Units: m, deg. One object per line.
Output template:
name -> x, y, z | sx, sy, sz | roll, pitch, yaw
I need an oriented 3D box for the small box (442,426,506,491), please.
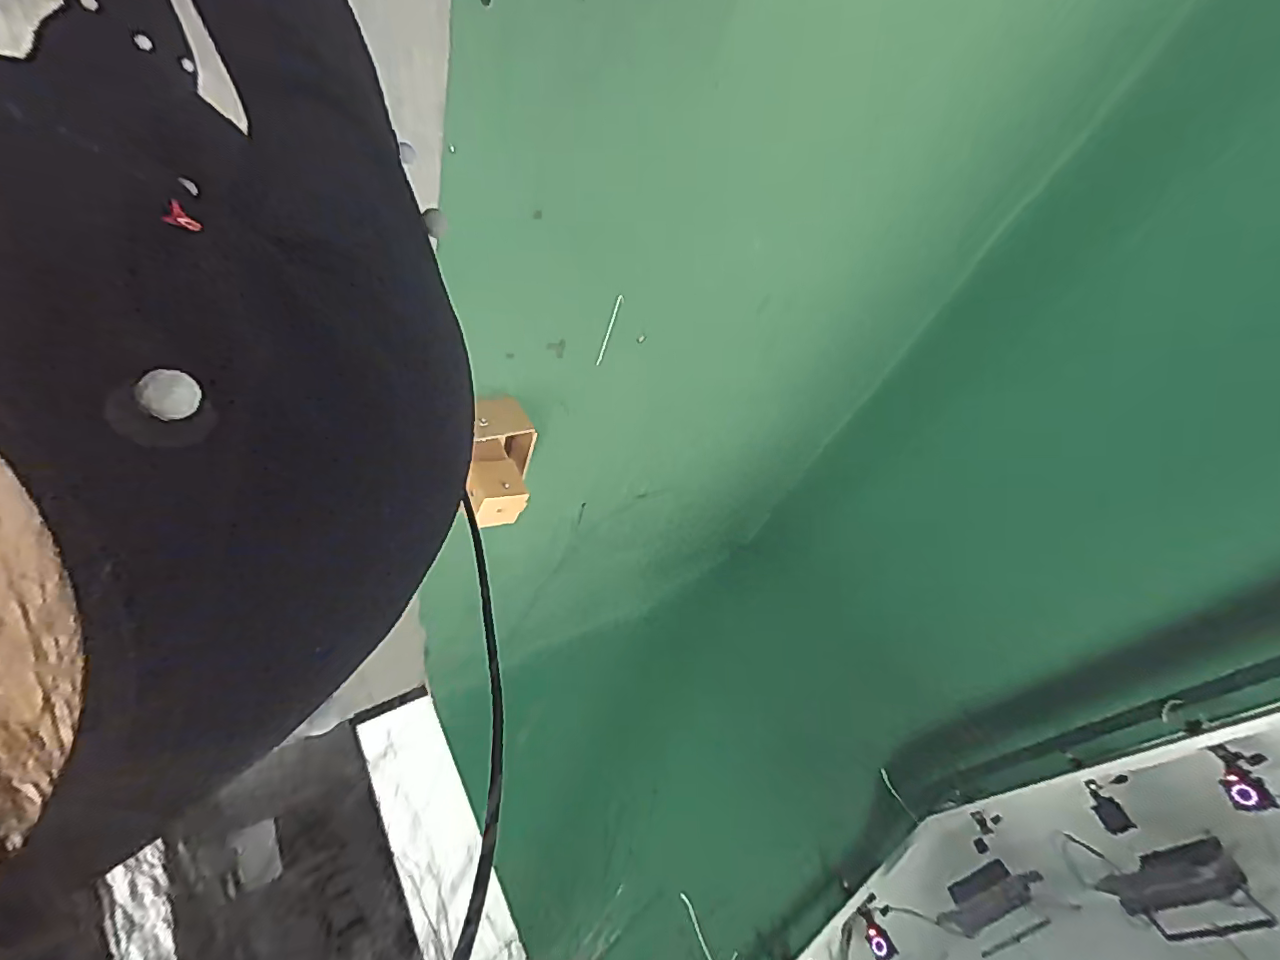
small box -> -0.616, -0.077, 2.005 | 0.168, 0.176, 0.179 | -2, 140, -46

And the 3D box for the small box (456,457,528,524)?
small box -> -0.531, 0.032, 1.916 | 0.179, 0.176, 0.168 | -7, 144, -43
